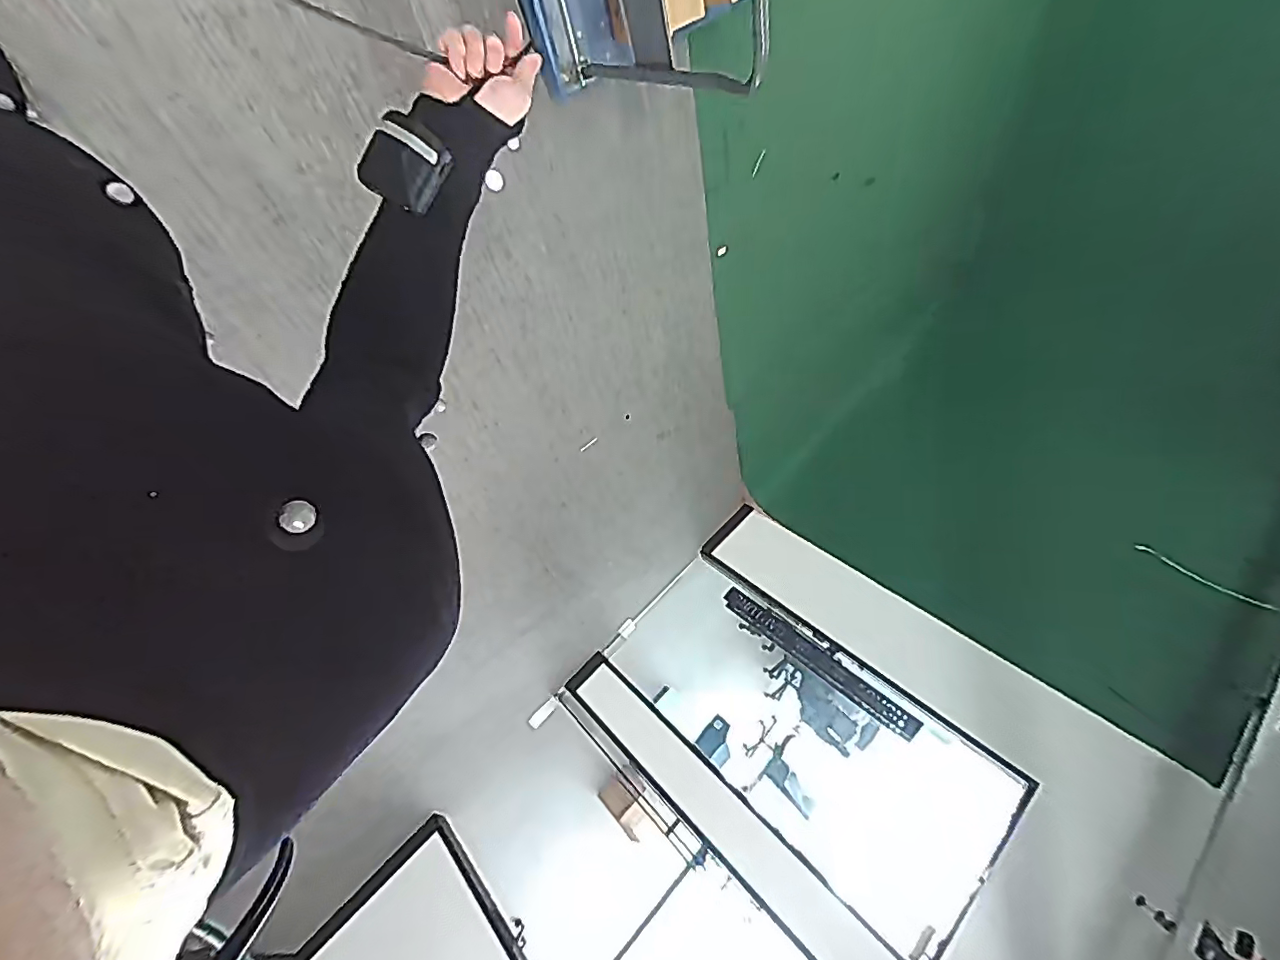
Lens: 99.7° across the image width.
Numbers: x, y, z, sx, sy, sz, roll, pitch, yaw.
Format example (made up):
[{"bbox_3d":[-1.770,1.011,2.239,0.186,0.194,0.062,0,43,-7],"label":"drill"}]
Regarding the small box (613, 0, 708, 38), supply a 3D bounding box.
[{"bbox_3d":[0.046,-1.248,1.365,0.179,0.176,0.168,-40,141,-19],"label":"small box"}]
